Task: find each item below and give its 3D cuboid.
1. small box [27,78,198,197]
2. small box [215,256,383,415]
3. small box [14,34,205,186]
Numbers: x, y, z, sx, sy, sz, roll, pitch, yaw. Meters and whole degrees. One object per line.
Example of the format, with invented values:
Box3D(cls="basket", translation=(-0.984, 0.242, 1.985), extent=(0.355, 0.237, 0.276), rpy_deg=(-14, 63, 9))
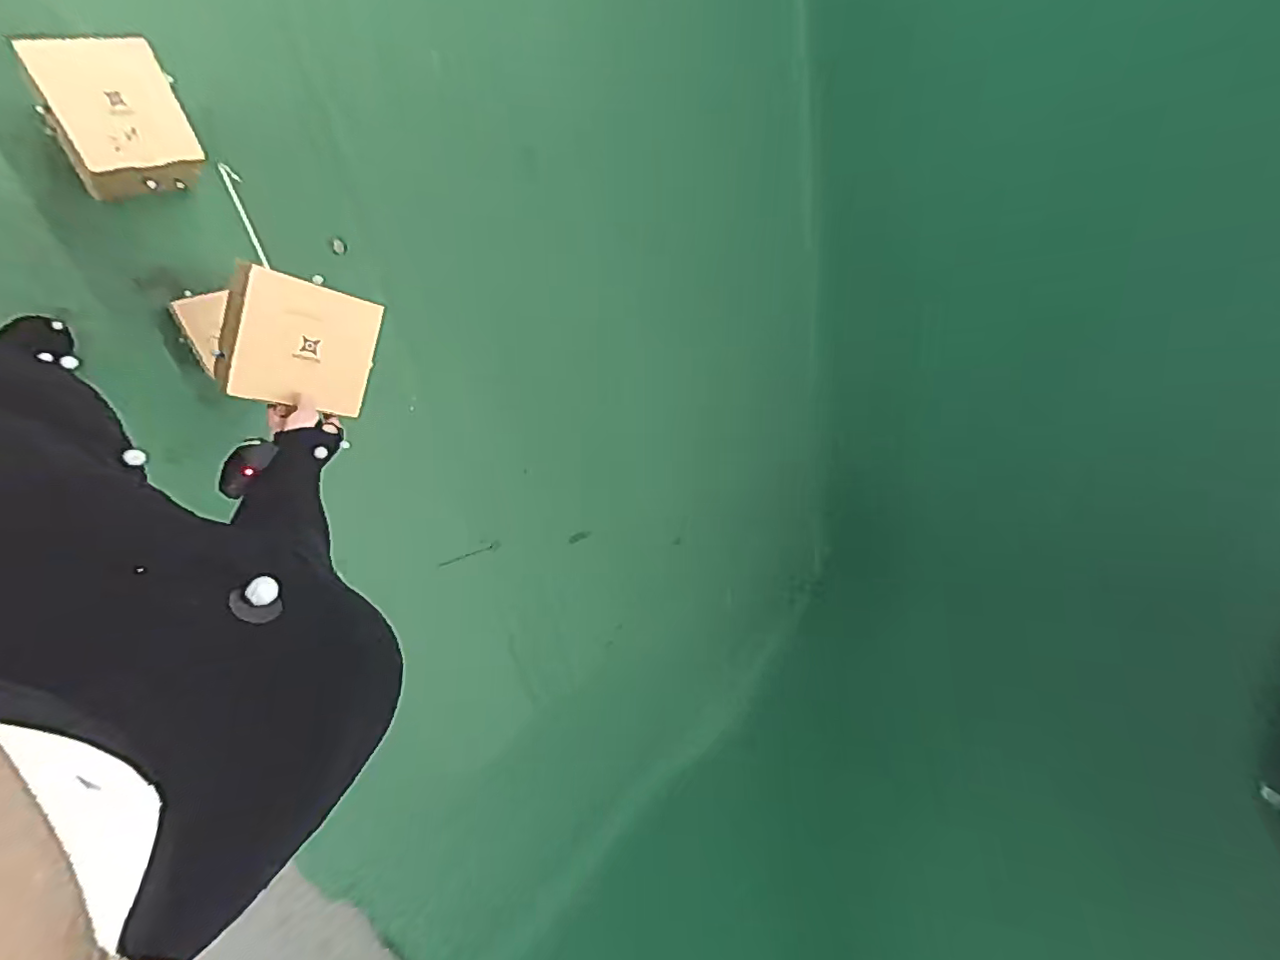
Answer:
Box3D(cls="small box", translation=(-0.999, -0.657, 1.038), extent=(0.179, 0.176, 0.168), rpy_deg=(-34, 124, -33))
Box3D(cls="small box", translation=(-0.509, -0.213, 0.800), extent=(0.168, 0.176, 0.179), rpy_deg=(9, 102, -45))
Box3D(cls="small box", translation=(-0.890, -0.621, 0.919), extent=(0.168, 0.176, 0.179), rpy_deg=(-33, 124, -33))
